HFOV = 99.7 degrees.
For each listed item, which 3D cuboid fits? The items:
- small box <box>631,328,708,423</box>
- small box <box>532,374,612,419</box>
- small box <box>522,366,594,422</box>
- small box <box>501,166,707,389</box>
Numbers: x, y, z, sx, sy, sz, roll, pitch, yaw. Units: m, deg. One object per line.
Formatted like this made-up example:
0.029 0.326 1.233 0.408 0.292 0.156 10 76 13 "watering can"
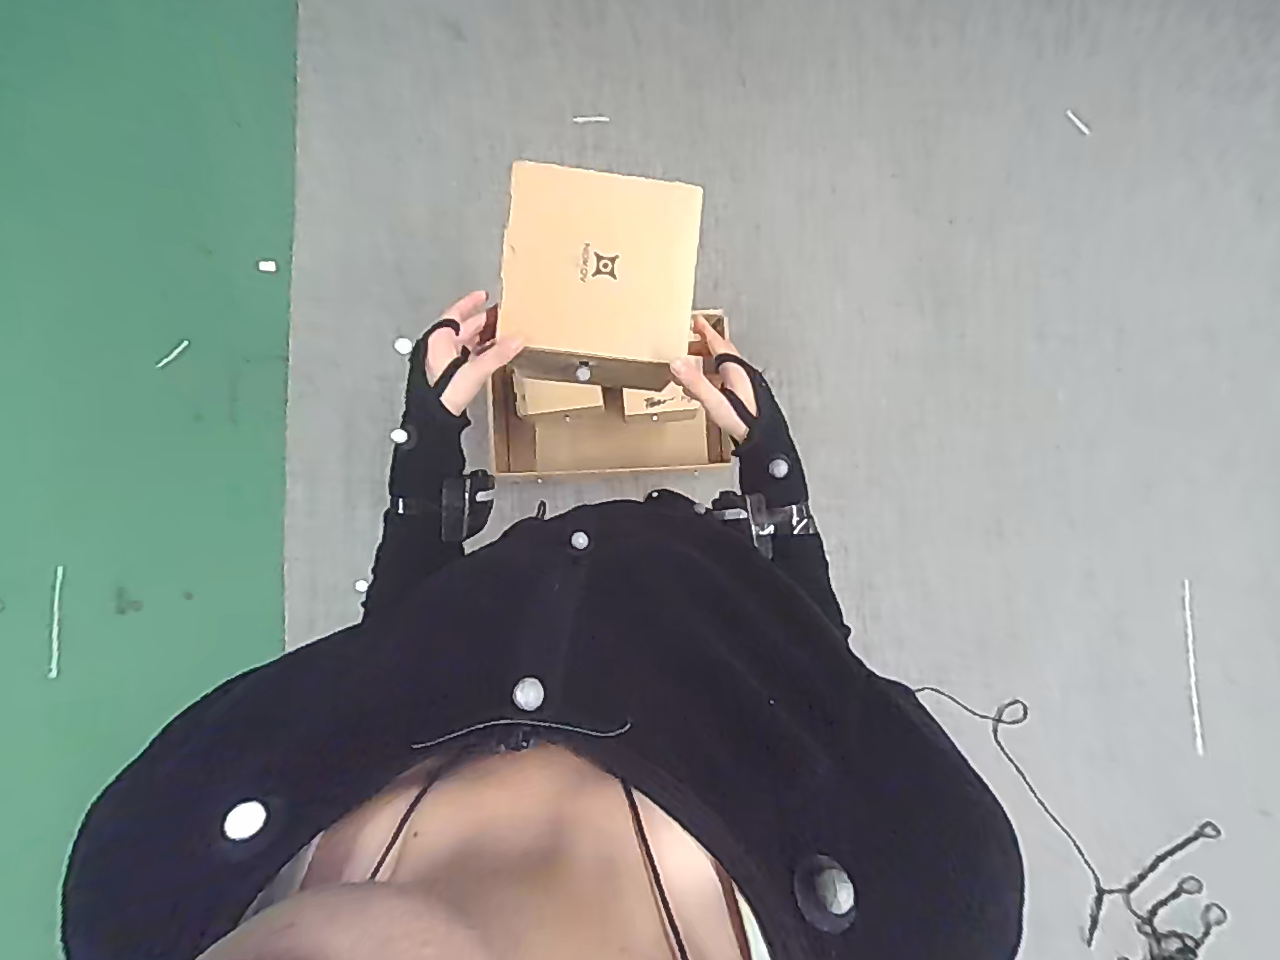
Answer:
0.063 -0.234 1.247 0.168 0.176 0.179 -5 88 3 "small box"
-0.156 -0.239 1.256 0.168 0.176 0.179 -7 89 -2 "small box"
-0.203 -0.249 1.420 0.179 0.176 0.168 -6 89 0 "small box"
-0.037 -0.195 0.572 0.179 0.176 0.168 6 90 -3 "small box"
